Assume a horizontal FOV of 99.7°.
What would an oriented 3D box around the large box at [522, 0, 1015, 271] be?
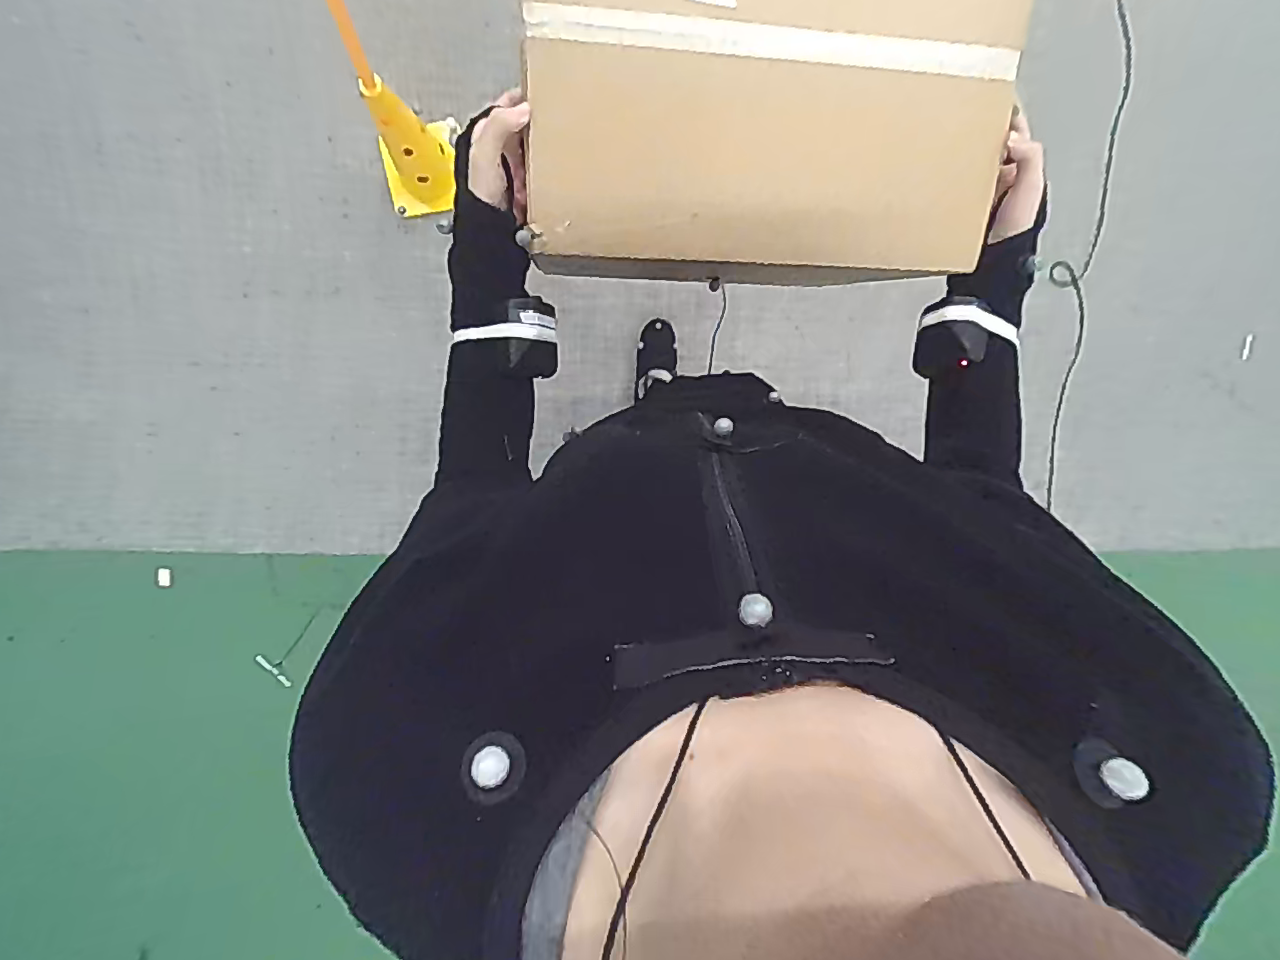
[{"bbox_3d":[0.091,-0.391,0.574,0.408,0.320,0.320,-1,108,-7],"label":"large box"}]
